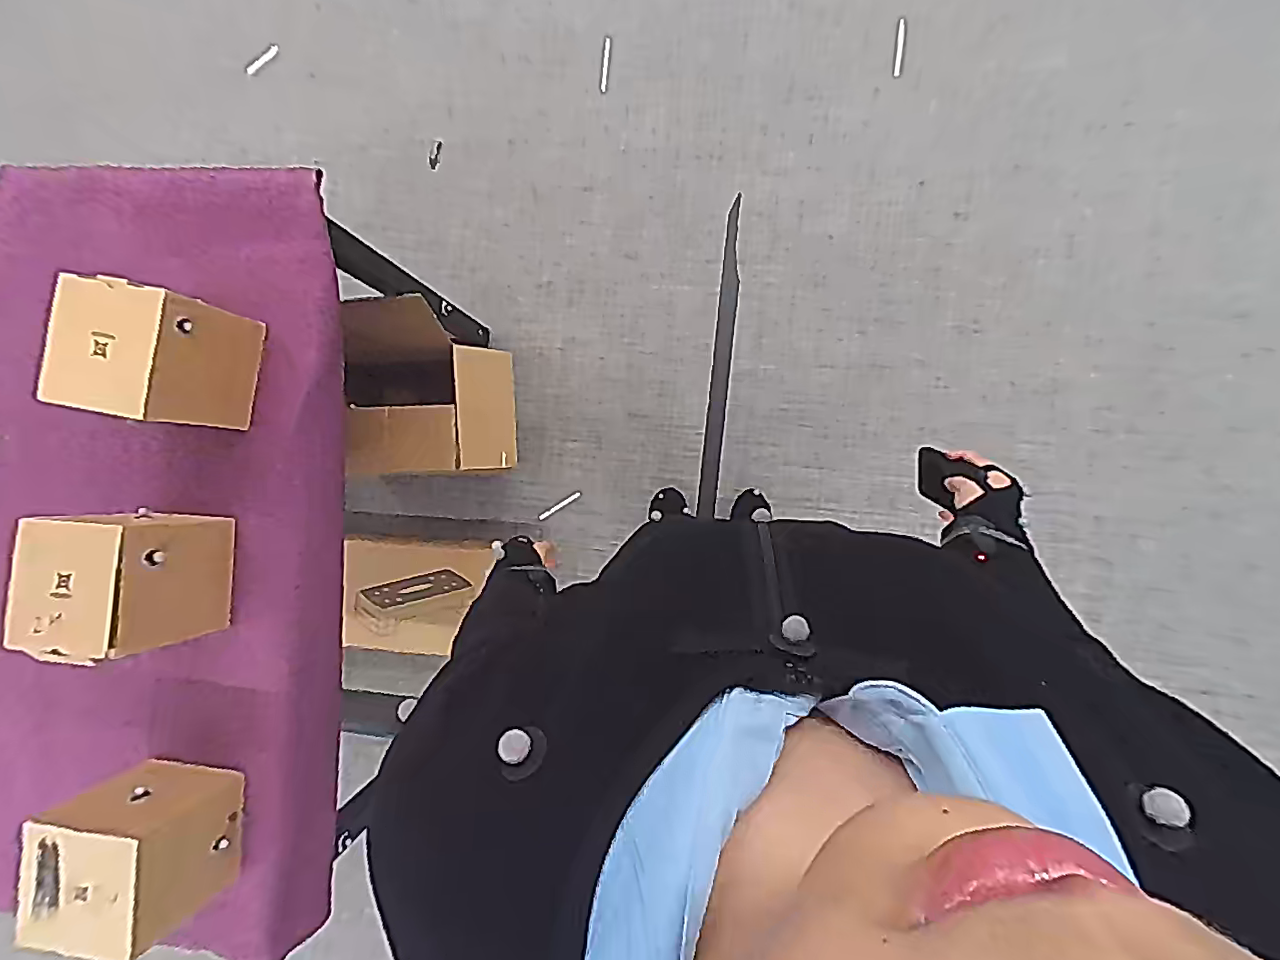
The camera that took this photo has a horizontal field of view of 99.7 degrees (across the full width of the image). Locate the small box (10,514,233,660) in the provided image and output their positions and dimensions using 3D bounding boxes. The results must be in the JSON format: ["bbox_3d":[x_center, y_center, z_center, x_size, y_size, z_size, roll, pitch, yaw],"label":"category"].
[{"bbox_3d":[-0.733,0.142,0.783,0.168,0.176,0.179,3,90,9],"label":"small box"}]

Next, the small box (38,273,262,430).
[{"bbox_3d":[-0.692,-0.174,0.783,0.168,0.176,0.179,10,90,7],"label":"small box"}]
